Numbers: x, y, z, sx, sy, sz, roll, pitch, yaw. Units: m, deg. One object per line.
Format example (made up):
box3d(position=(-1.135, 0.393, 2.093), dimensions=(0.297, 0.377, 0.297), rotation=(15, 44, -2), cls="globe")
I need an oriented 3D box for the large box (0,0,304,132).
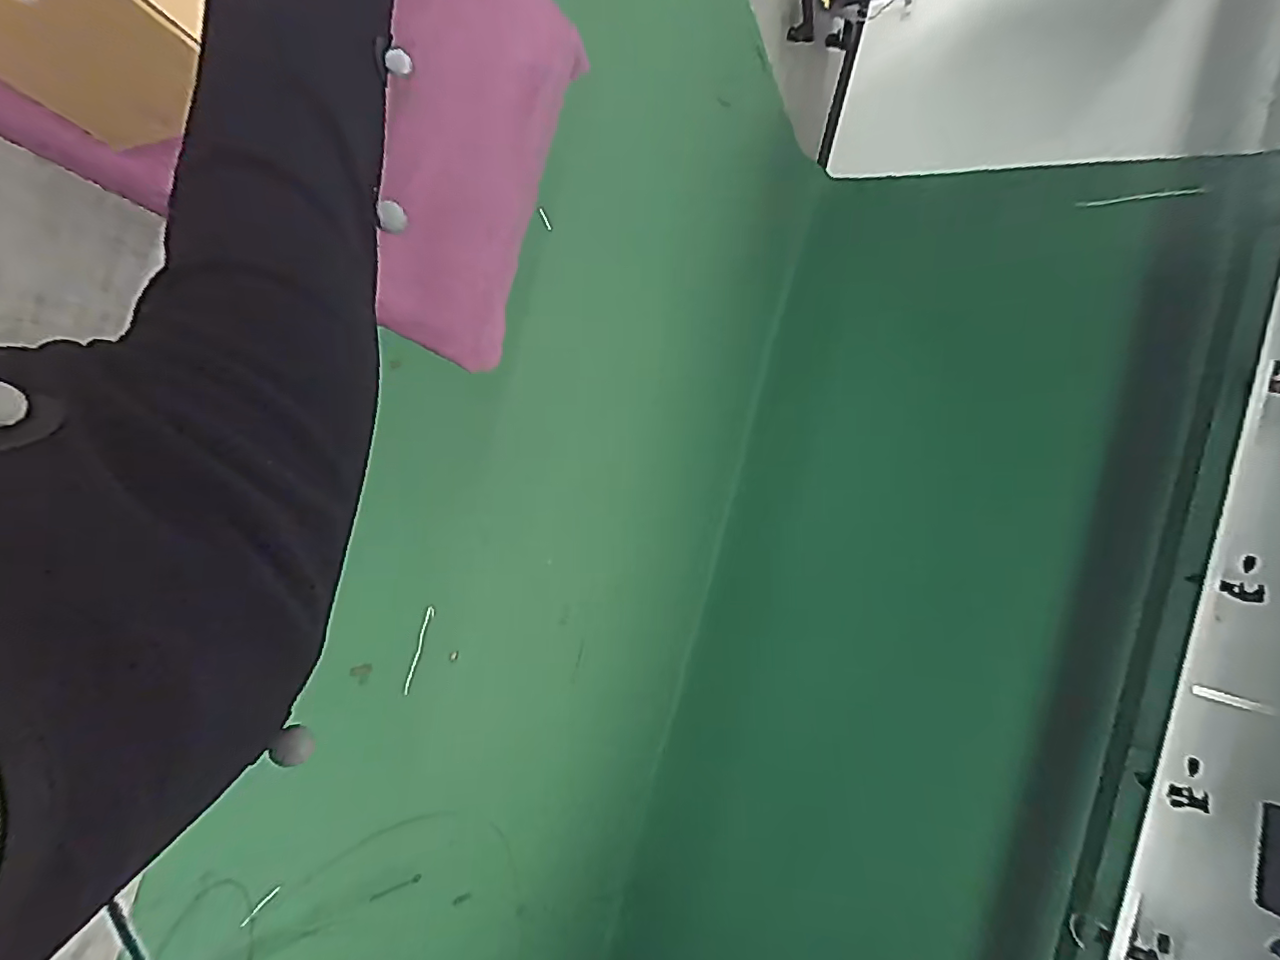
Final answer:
box3d(position=(-0.419, -0.536, 0.361), dimensions=(0.320, 0.320, 0.408), rotation=(25, 82, -59), cls="large box")
